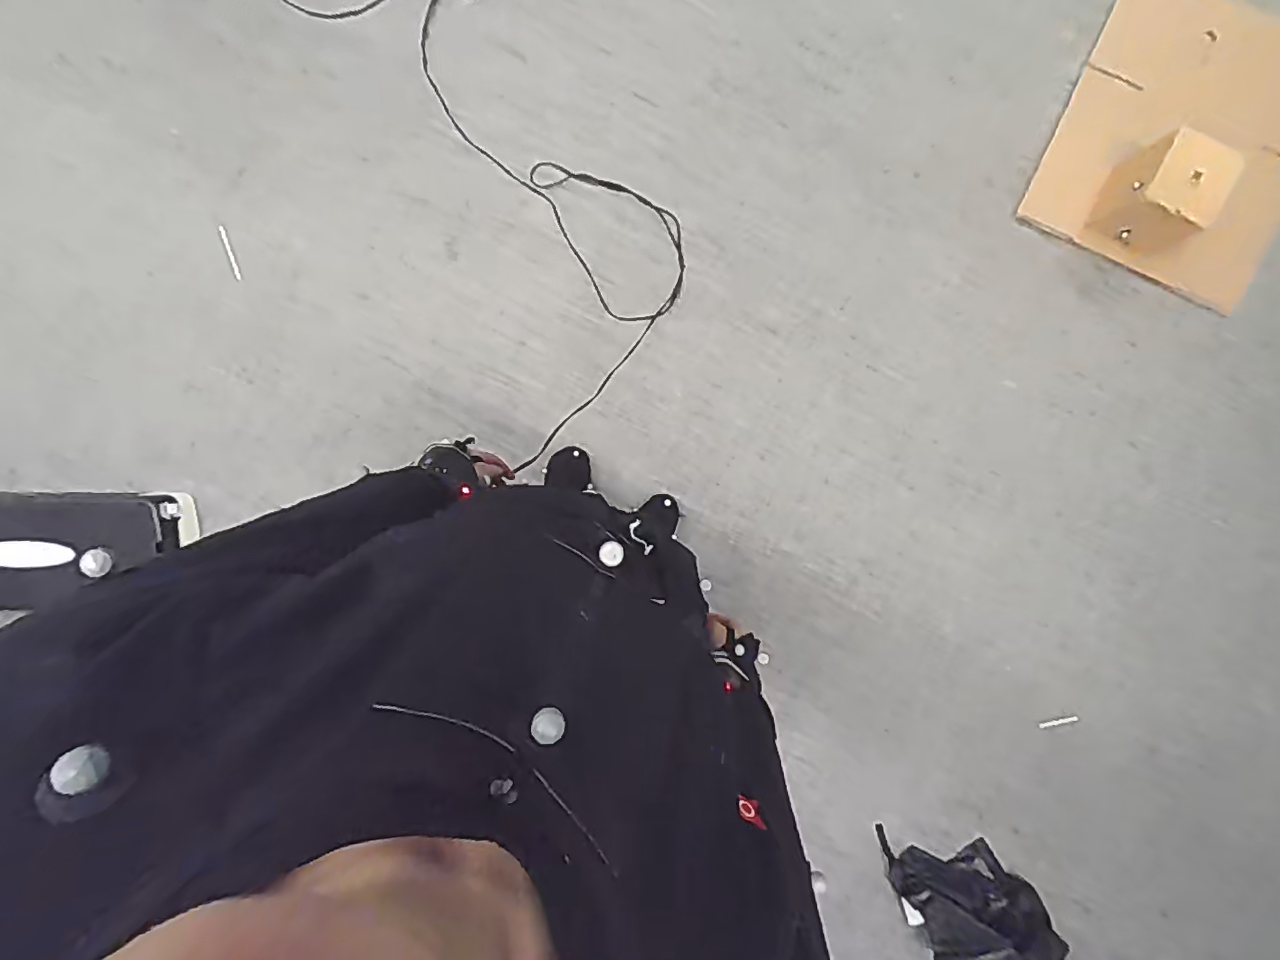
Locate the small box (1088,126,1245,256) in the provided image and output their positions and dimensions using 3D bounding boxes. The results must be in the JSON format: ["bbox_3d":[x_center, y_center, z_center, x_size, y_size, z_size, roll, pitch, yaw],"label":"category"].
[{"bbox_3d":[1.202,-0.656,1.250,0.168,0.176,0.179,27,92,-1],"label":"small box"}]
